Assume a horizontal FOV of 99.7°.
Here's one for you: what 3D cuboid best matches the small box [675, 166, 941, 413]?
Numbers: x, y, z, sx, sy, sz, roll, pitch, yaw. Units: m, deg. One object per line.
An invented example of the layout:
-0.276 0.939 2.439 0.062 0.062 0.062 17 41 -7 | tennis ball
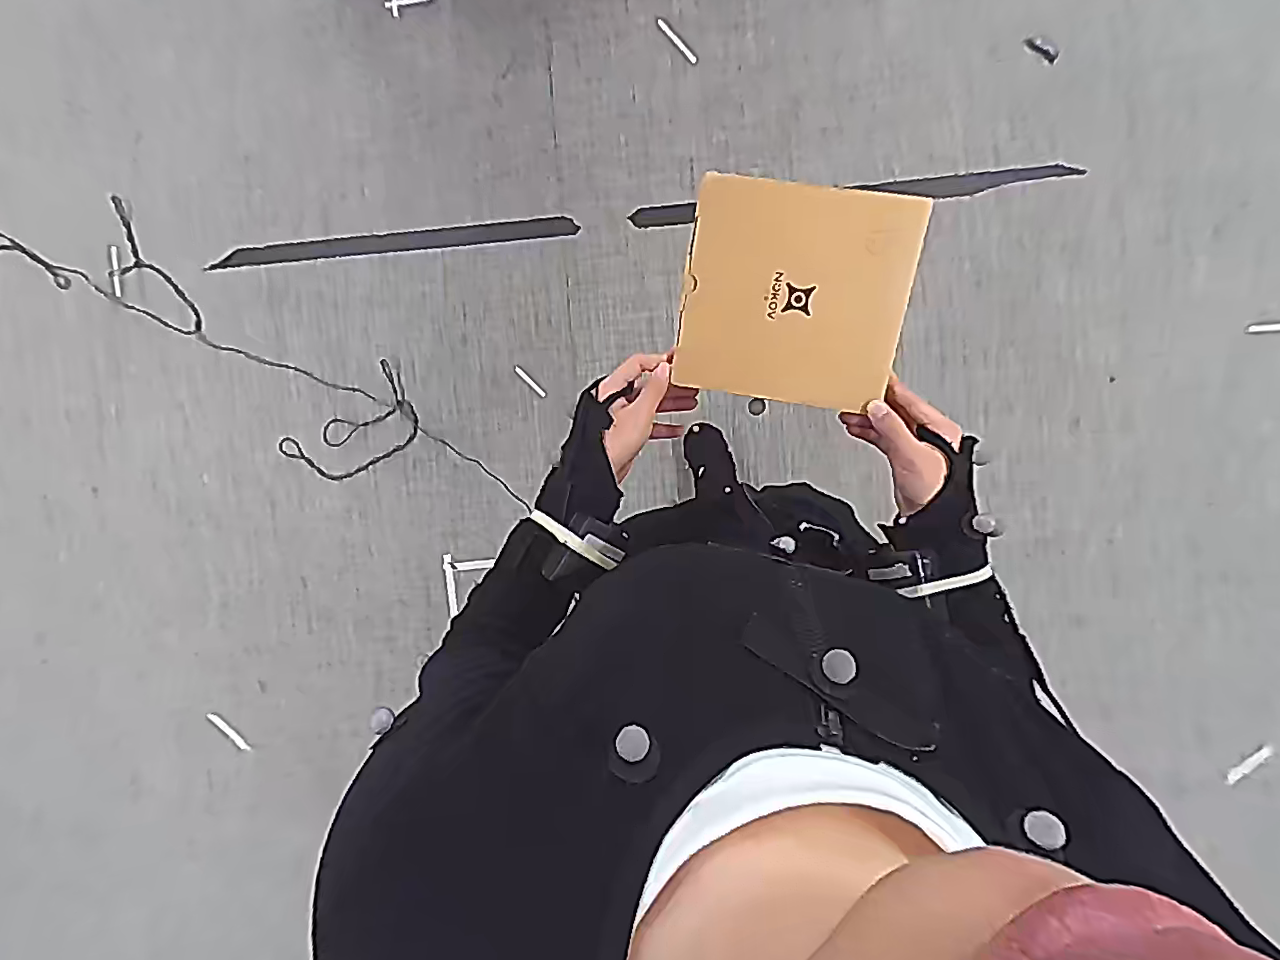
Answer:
0.136 -0.164 0.501 0.179 0.176 0.168 10 103 6 | small box
